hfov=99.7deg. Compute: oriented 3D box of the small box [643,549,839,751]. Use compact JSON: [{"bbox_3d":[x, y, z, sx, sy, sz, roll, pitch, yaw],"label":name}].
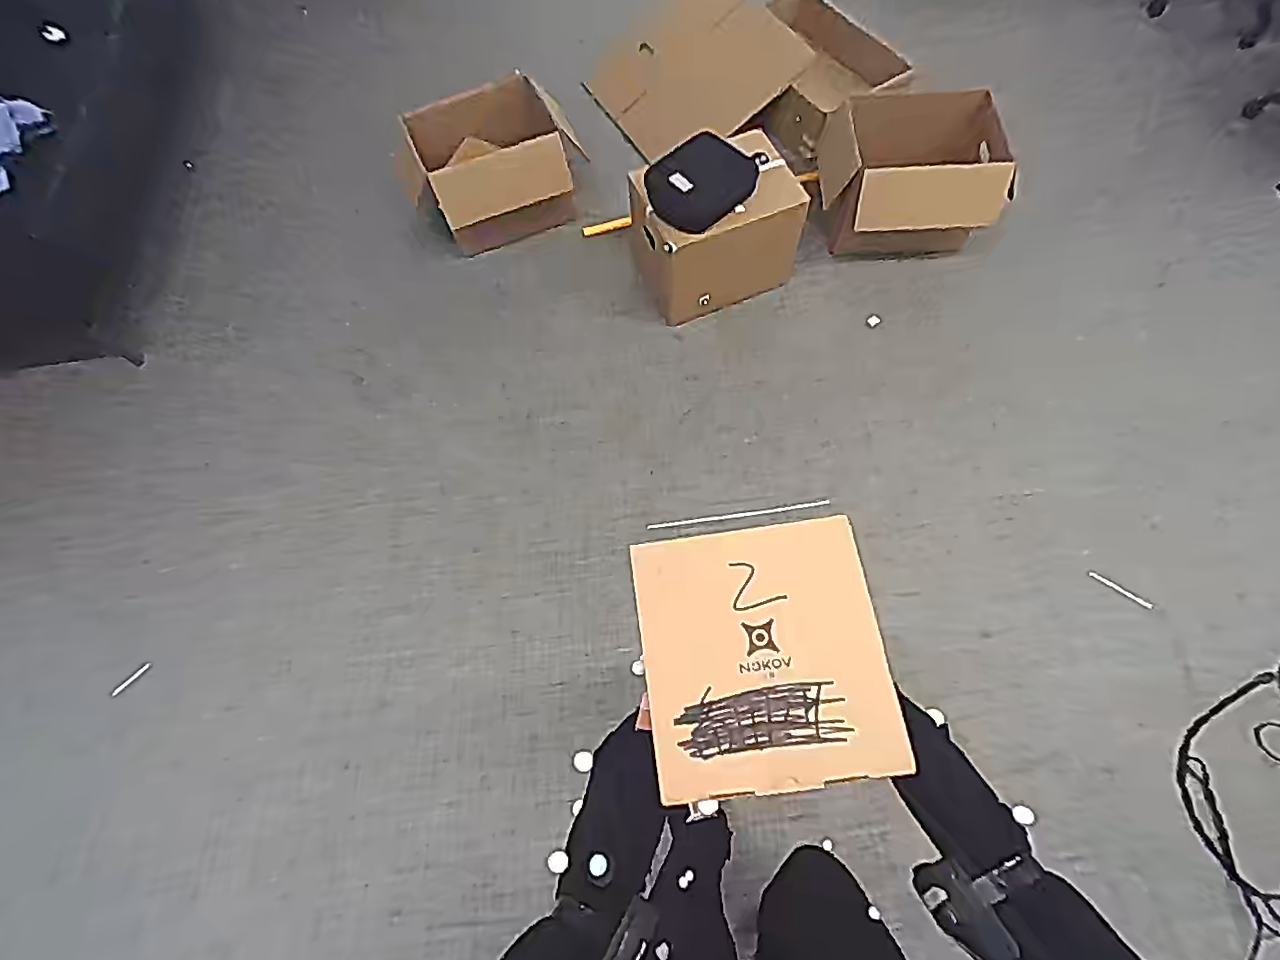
[{"bbox_3d":[0.100,0.195,0.613,0.168,0.176,0.179,-11,67,1],"label":"small box"}]
